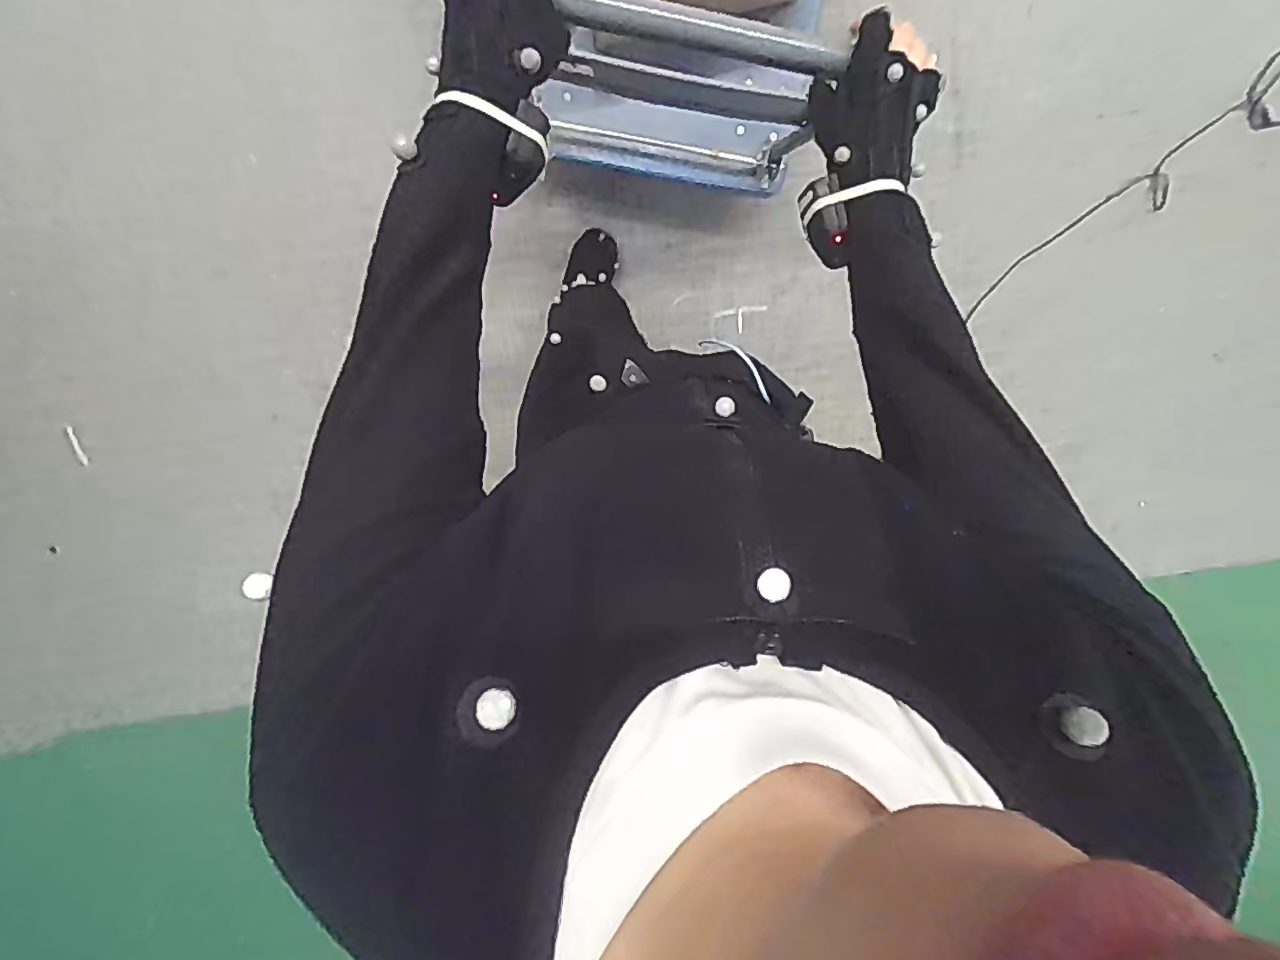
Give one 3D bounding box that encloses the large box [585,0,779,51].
[{"bbox_3d":[0.080,-0.966,0.857,0.408,0.320,0.320,-14,109,2],"label":"large box"}]
